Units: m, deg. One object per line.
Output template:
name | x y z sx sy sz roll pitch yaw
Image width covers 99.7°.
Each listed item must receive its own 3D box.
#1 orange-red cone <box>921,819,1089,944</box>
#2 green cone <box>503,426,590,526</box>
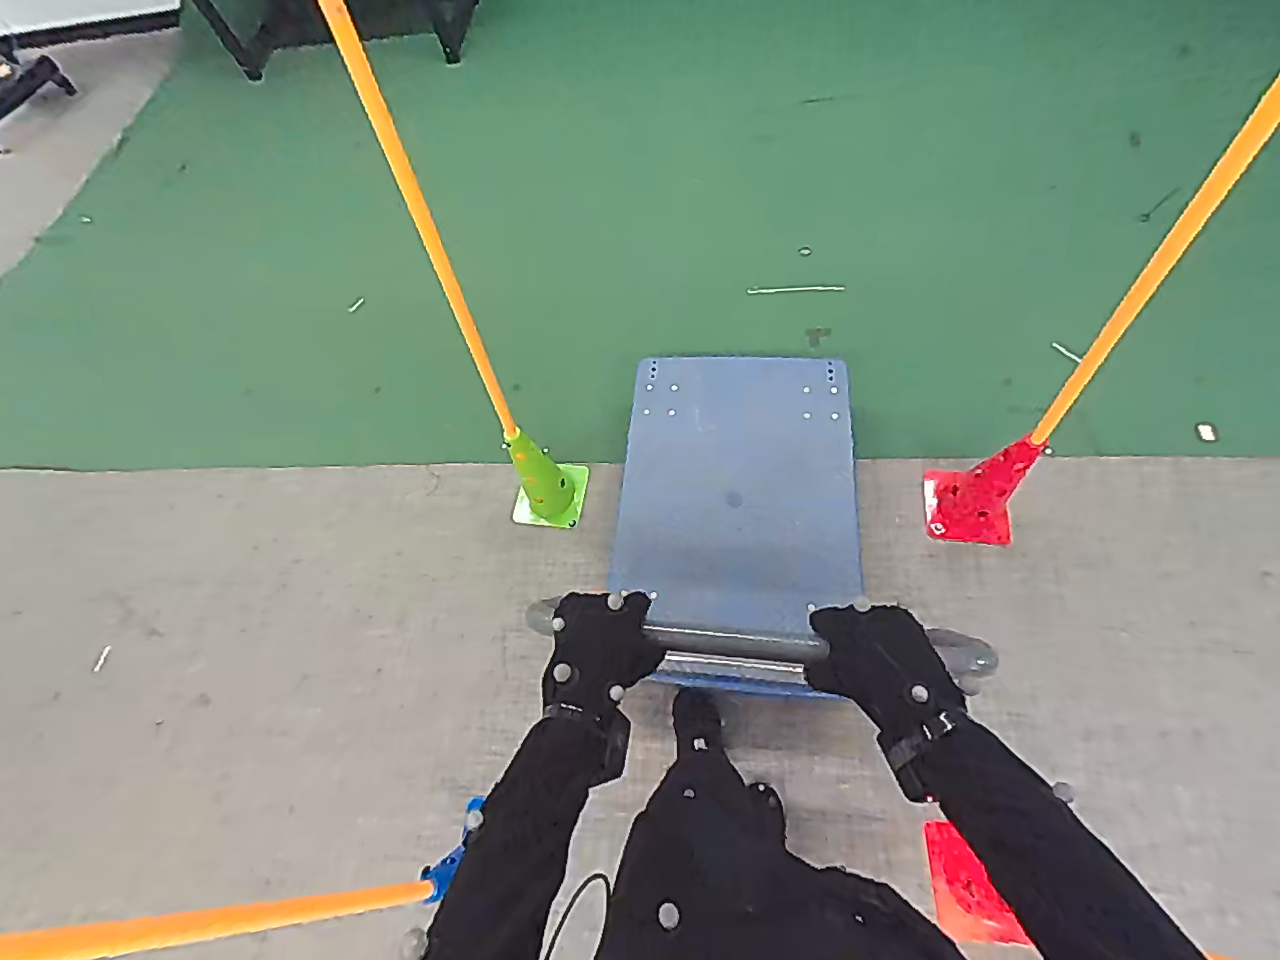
orange-red cone | 0.663 0.736 0.949 0.199 0.360 0.198 -1 63 9
green cone | -0.280 -0.037 1.453 0.202 0.368 0.200 4 64 11
